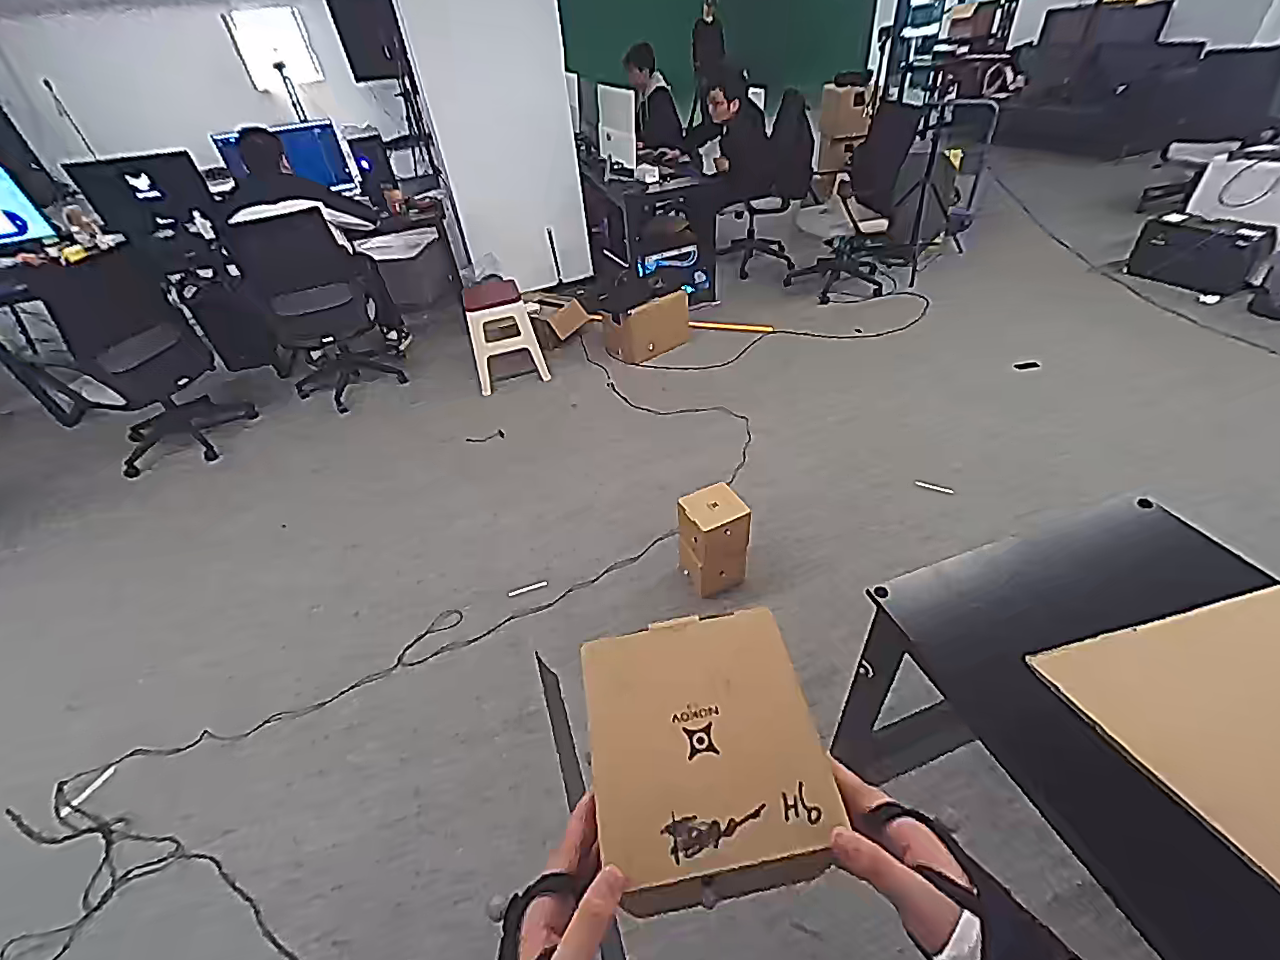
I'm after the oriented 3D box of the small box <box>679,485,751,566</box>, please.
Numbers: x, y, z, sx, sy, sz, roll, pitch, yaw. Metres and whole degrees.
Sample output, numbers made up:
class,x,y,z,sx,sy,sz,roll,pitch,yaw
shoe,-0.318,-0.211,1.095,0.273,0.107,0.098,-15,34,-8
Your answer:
class,x,y,z,sx,sy,sz,roll,pitch,yaw
small box,0.241,0.150,1.752,0.179,0.176,0.168,-20,43,-17

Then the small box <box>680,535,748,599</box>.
class,x,y,z,sx,sy,sz,roll,pitch,yaw
small box,0.250,0.275,1.855,0.179,0.176,0.168,-20,42,-13

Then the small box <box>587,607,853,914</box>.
class,x,y,z,sx,sy,sz,roll,pitch,yaw
small box,0.054,0.238,0.462,0.168,0.176,0.179,-11,46,-2
